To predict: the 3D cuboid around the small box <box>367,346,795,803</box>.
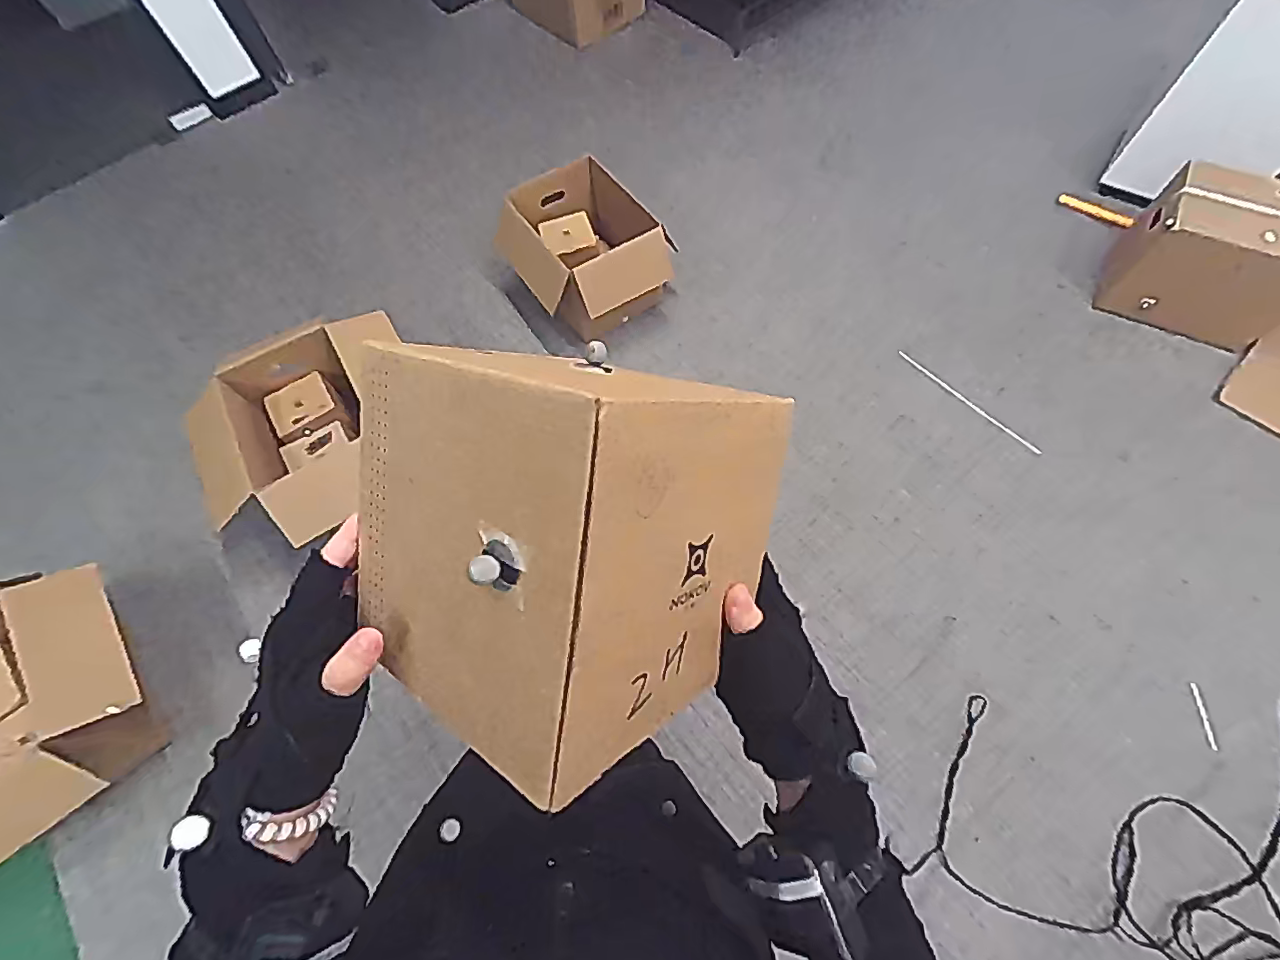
[{"bbox_3d":[-0.035,0.024,0.309,0.176,0.168,0.179,18,105,35],"label":"small box"}]
